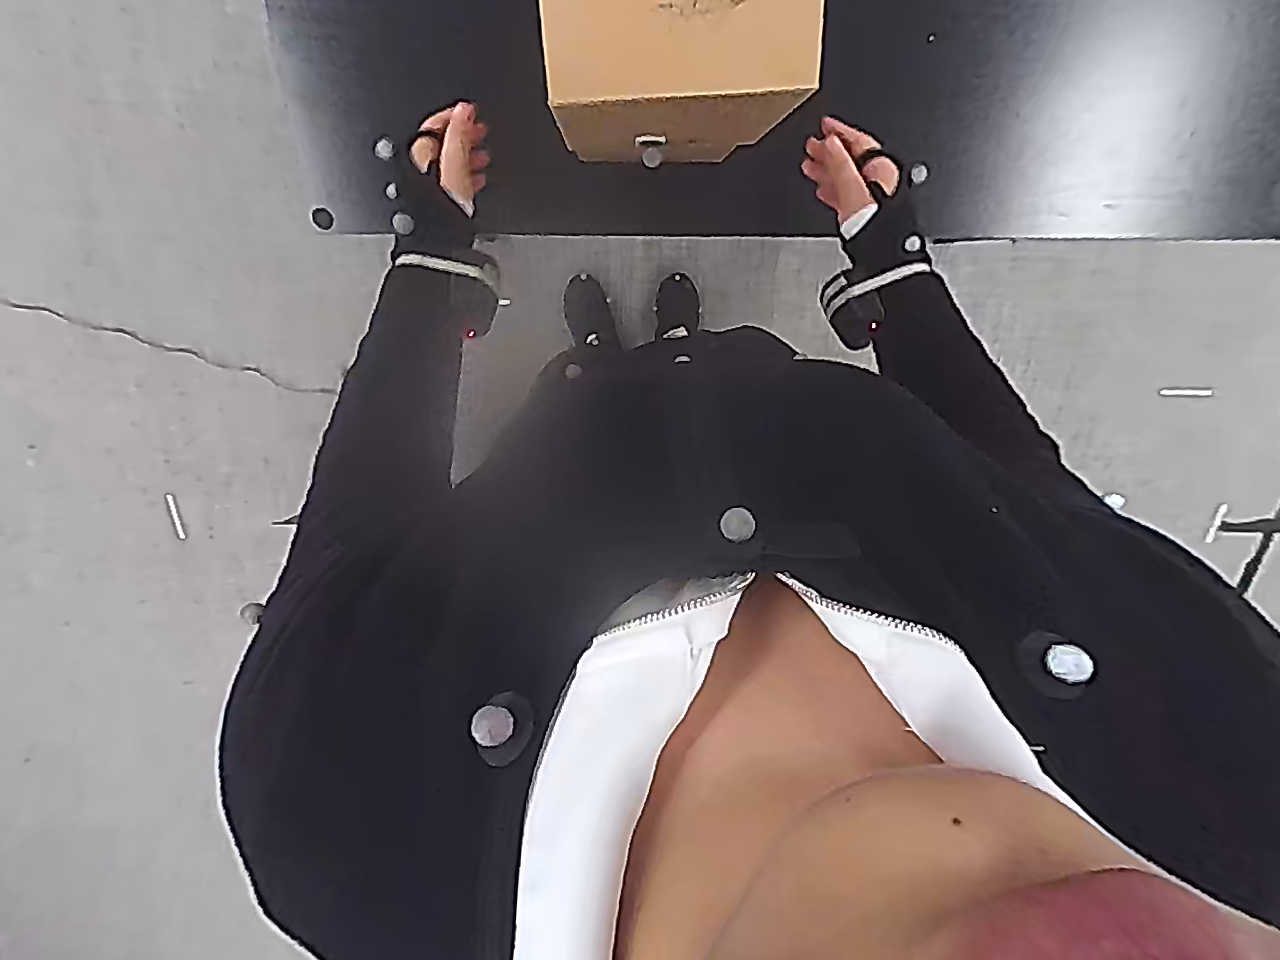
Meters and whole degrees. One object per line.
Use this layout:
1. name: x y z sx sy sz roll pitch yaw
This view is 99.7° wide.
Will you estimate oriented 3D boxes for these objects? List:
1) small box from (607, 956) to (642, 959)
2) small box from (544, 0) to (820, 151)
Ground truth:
1. small box: -0.072 1.543 1.578 0.179 0.176 0.168 -7 108 1
2. small box: 0.020 -0.348 0.377 0.168 0.176 0.179 -4 113 0
